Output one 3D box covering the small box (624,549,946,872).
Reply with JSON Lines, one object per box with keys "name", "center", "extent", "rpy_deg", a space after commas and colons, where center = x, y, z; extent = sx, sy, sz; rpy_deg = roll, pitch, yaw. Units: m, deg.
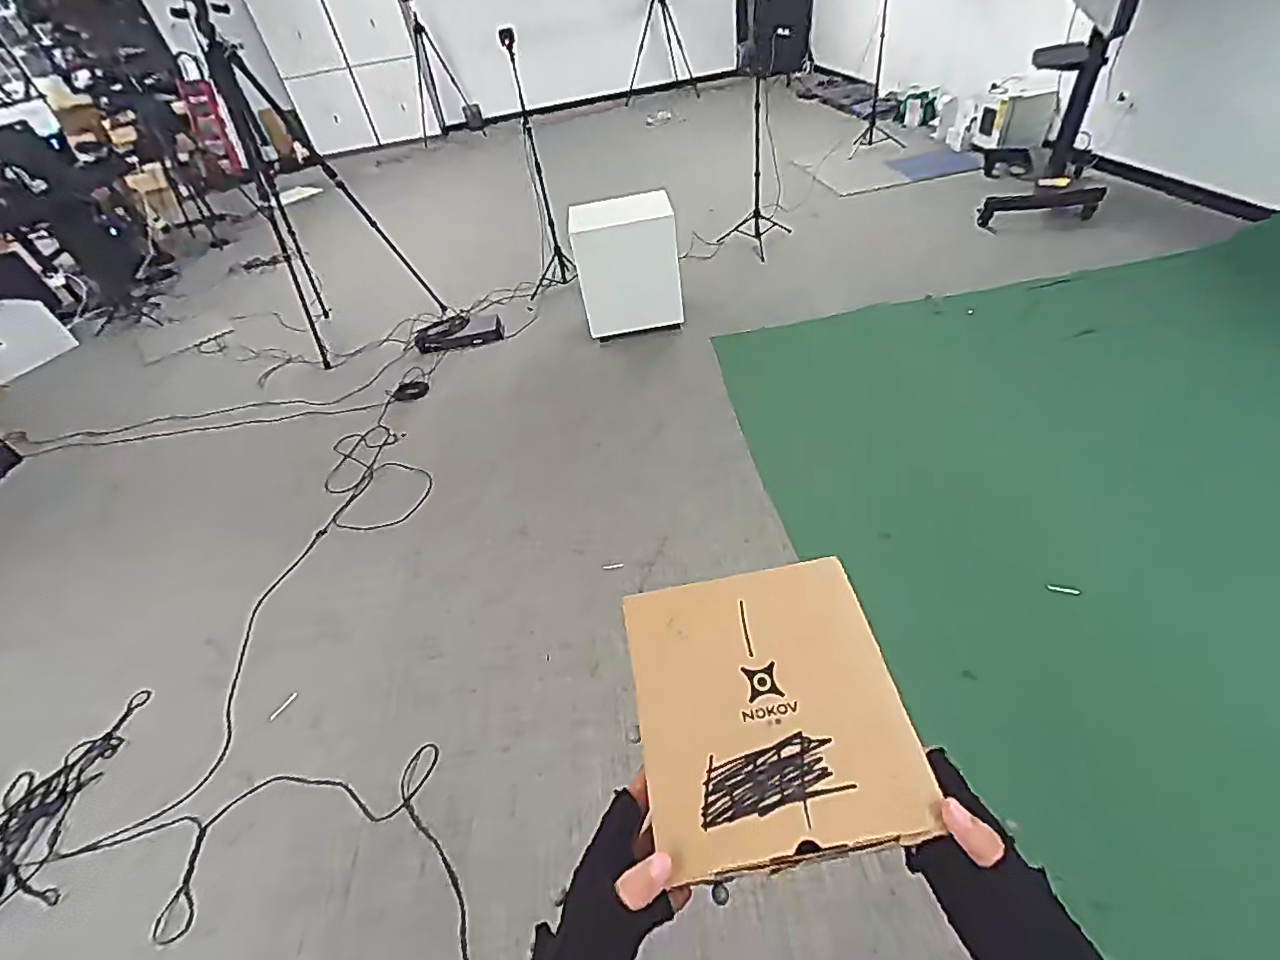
{"name": "small box", "center": [0.089, 0.180, 0.411], "extent": [0.168, 0.176, 0.179], "rpy_deg": [-10, 52, 0]}
